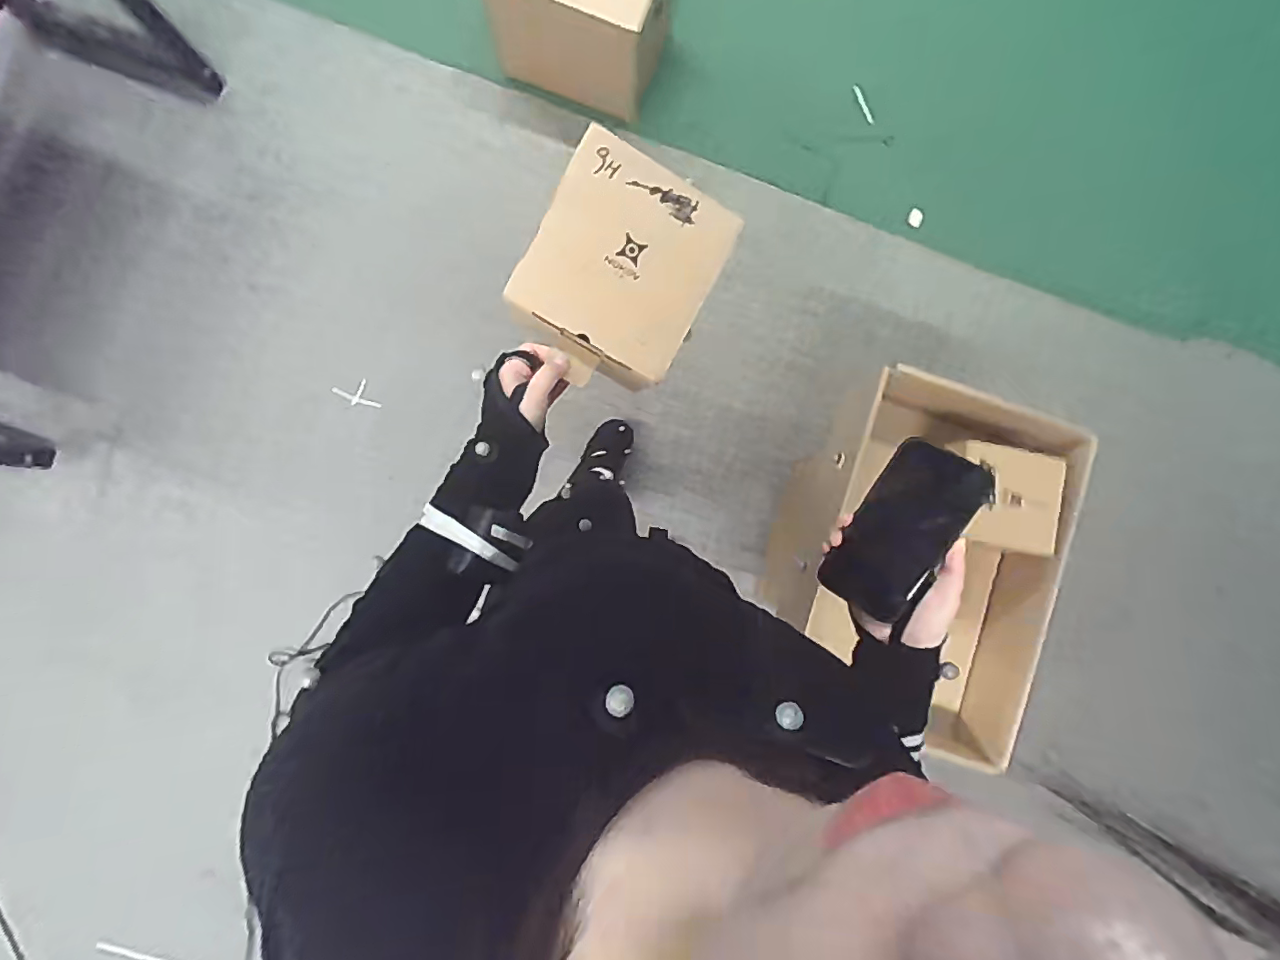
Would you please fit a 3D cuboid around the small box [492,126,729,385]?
[{"bbox_3d":[-0.034,-0.211,0.573,0.168,0.176,0.179,27,94,-11],"label":"small box"}]
